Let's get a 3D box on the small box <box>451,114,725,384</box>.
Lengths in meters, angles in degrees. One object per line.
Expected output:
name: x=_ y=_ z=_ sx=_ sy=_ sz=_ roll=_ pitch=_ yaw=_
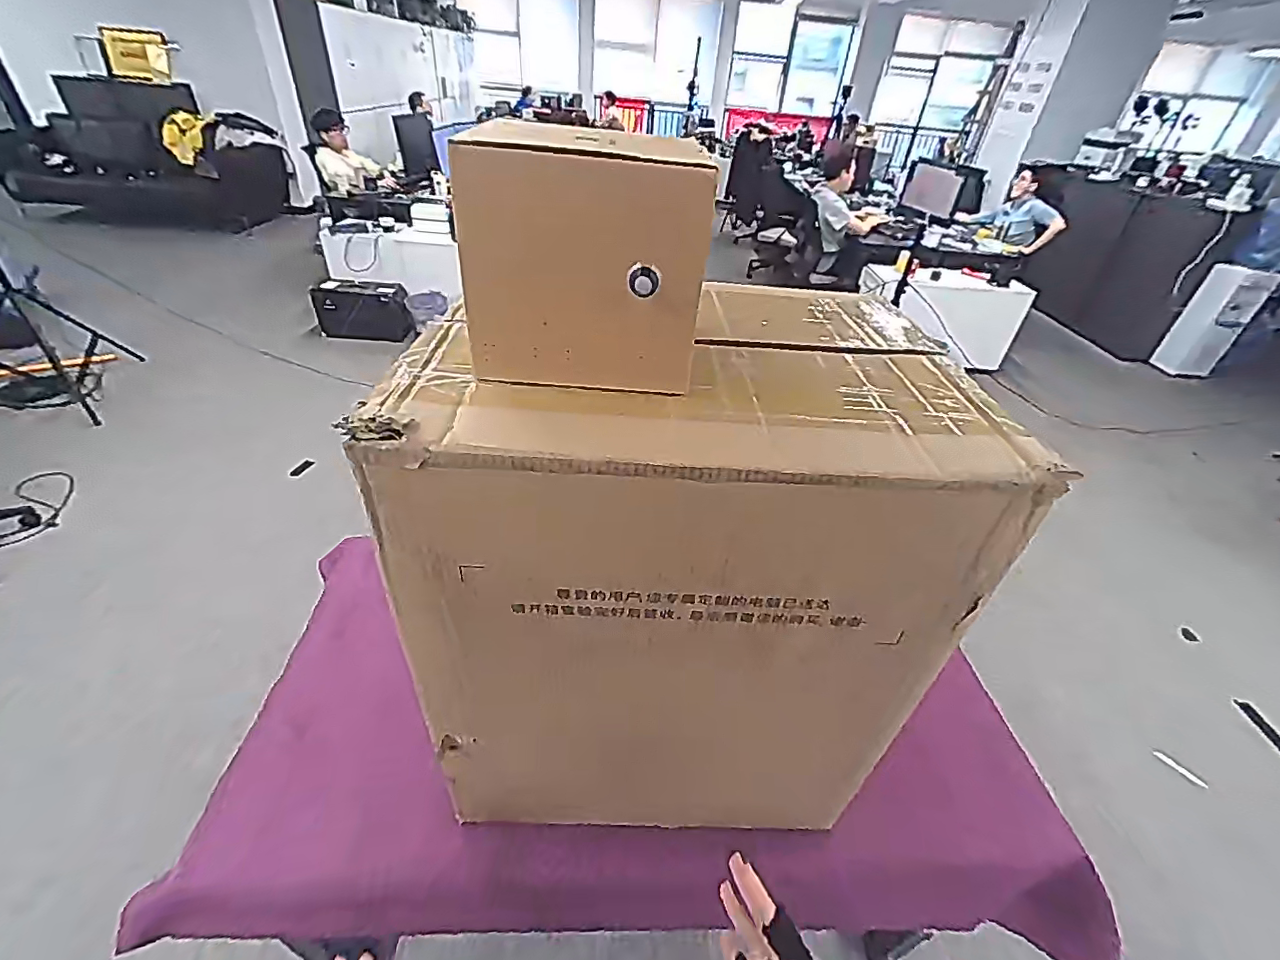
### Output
small box: x=-0.039 y=-0.191 z=0.451 sx=0.179 sy=0.176 sz=0.168 roll=2 pitch=36 yaw=-4
